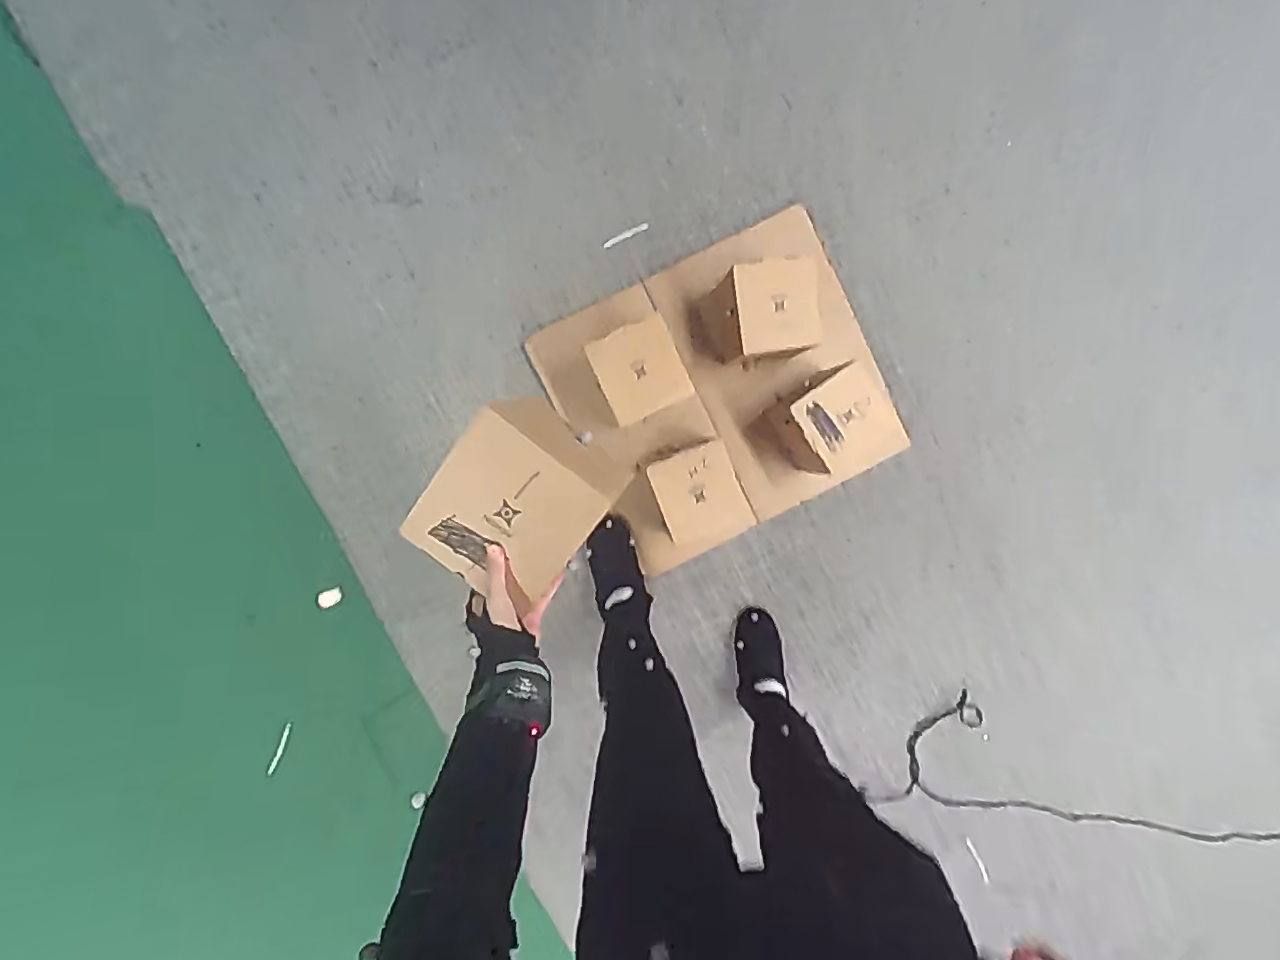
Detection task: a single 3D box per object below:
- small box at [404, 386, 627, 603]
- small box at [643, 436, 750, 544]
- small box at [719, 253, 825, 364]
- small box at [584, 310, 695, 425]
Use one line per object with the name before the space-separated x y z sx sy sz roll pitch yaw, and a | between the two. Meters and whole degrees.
small box | -0.131 0.007 0.644 0.168 0.176 0.179 40 101 -2
small box | 0.112 0.013 1.146 0.168 0.176 0.179 -21 95 -2
small box | 0.266 -0.350 1.127 0.168 0.176 0.179 -8 94 -3
small box | -0.003 -0.224 1.122 0.168 0.176 0.179 -25 95 -2
